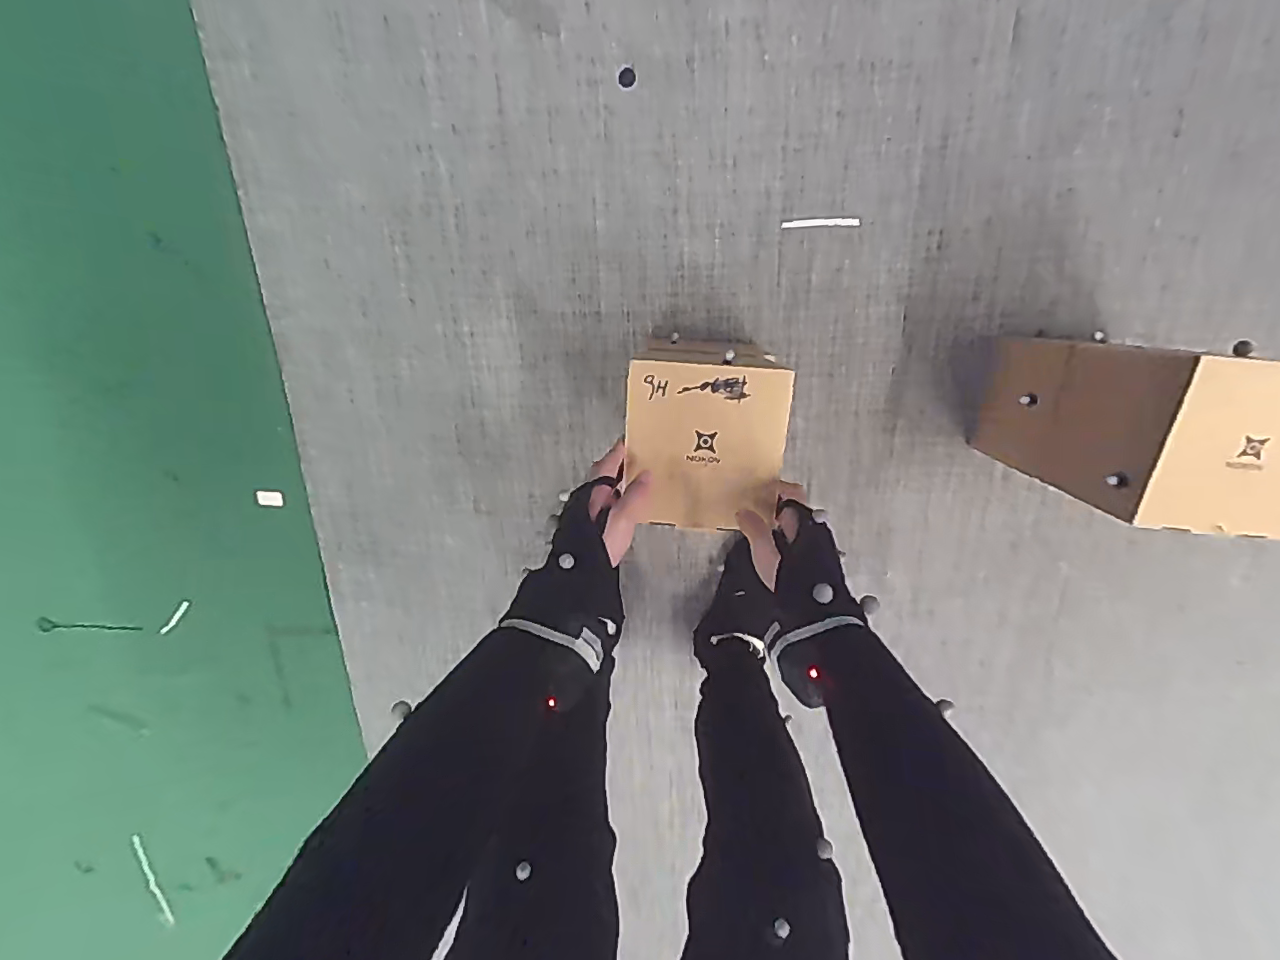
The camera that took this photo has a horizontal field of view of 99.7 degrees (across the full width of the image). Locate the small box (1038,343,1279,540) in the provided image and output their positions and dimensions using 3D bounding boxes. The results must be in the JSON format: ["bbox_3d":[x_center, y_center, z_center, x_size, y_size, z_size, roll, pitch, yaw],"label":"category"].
[{"bbox_3d":[0.591,-0.053,0.598,0.168,0.176,0.179,5,110,2],"label":"small box"}]

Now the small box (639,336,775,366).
[{"bbox_3d":[0.087,-0.116,0.791,0.179,0.176,0.168,5,110,2],"label":"small box"}]

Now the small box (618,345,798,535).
[{"bbox_3d":[0.071,-0.056,0.628,0.168,0.176,0.179,6,107,1],"label":"small box"}]

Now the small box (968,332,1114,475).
[{"bbox_3d":[0.596,-0.103,0.751,0.168,0.176,0.179,12,110,3],"label":"small box"}]
